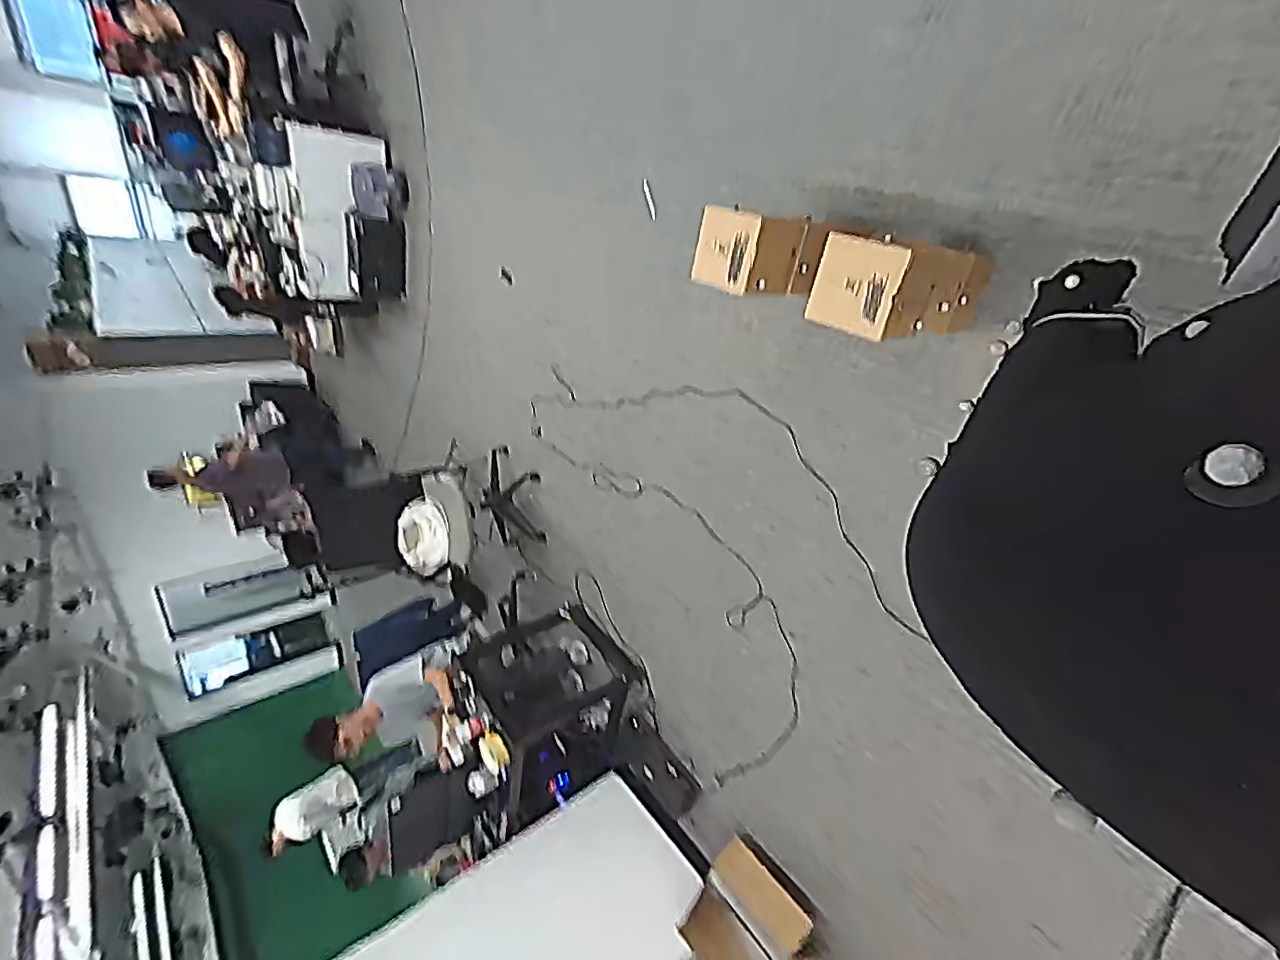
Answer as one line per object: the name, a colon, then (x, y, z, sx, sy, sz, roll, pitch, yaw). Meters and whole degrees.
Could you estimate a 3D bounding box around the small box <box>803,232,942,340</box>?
small box: (0.471, -0.395, 1.094, 0.179, 0.176, 0.168, 36, 127, 37)

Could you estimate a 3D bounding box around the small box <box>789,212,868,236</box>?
small box: (0.499, -0.626, 1.496, 0.168, 0.176, 0.179, 35, 126, 37)

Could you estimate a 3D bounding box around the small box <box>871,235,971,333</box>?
small box: (0.593, -0.435, 1.197, 0.179, 0.176, 0.168, 35, 127, 37)

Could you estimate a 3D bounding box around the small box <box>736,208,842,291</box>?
small box: (0.381, -0.588, 1.388, 0.179, 0.176, 0.168, 36, 127, 38)

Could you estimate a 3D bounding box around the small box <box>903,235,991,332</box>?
small box: (0.707, -0.472, 1.306, 0.168, 0.176, 0.179, 39, 128, 34)
